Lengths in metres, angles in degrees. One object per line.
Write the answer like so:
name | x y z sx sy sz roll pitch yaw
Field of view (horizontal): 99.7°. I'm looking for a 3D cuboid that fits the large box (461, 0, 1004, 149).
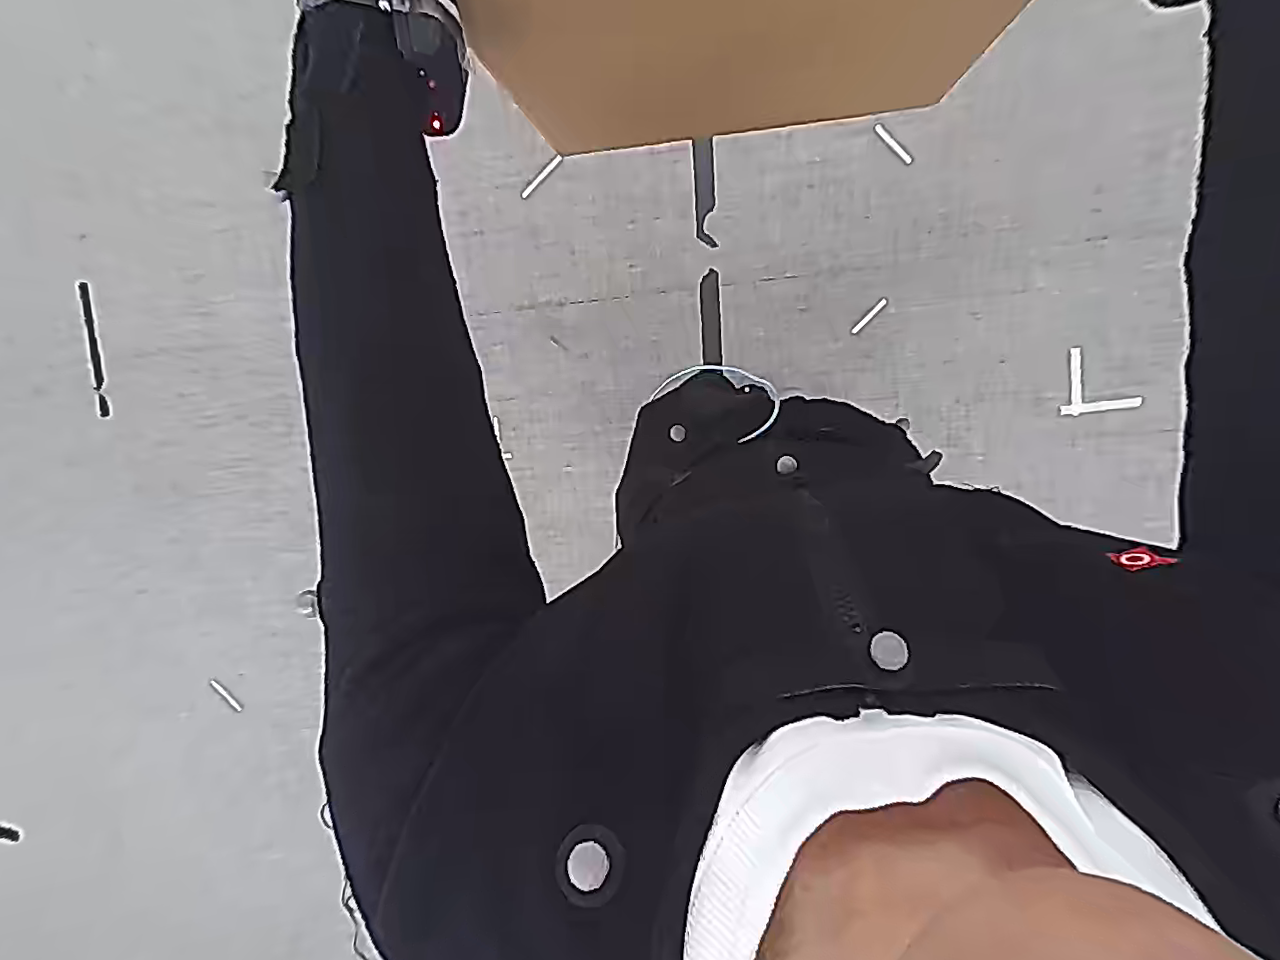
large box | 0.073 -0.499 0.411 0.408 0.320 0.320 -4 104 8
